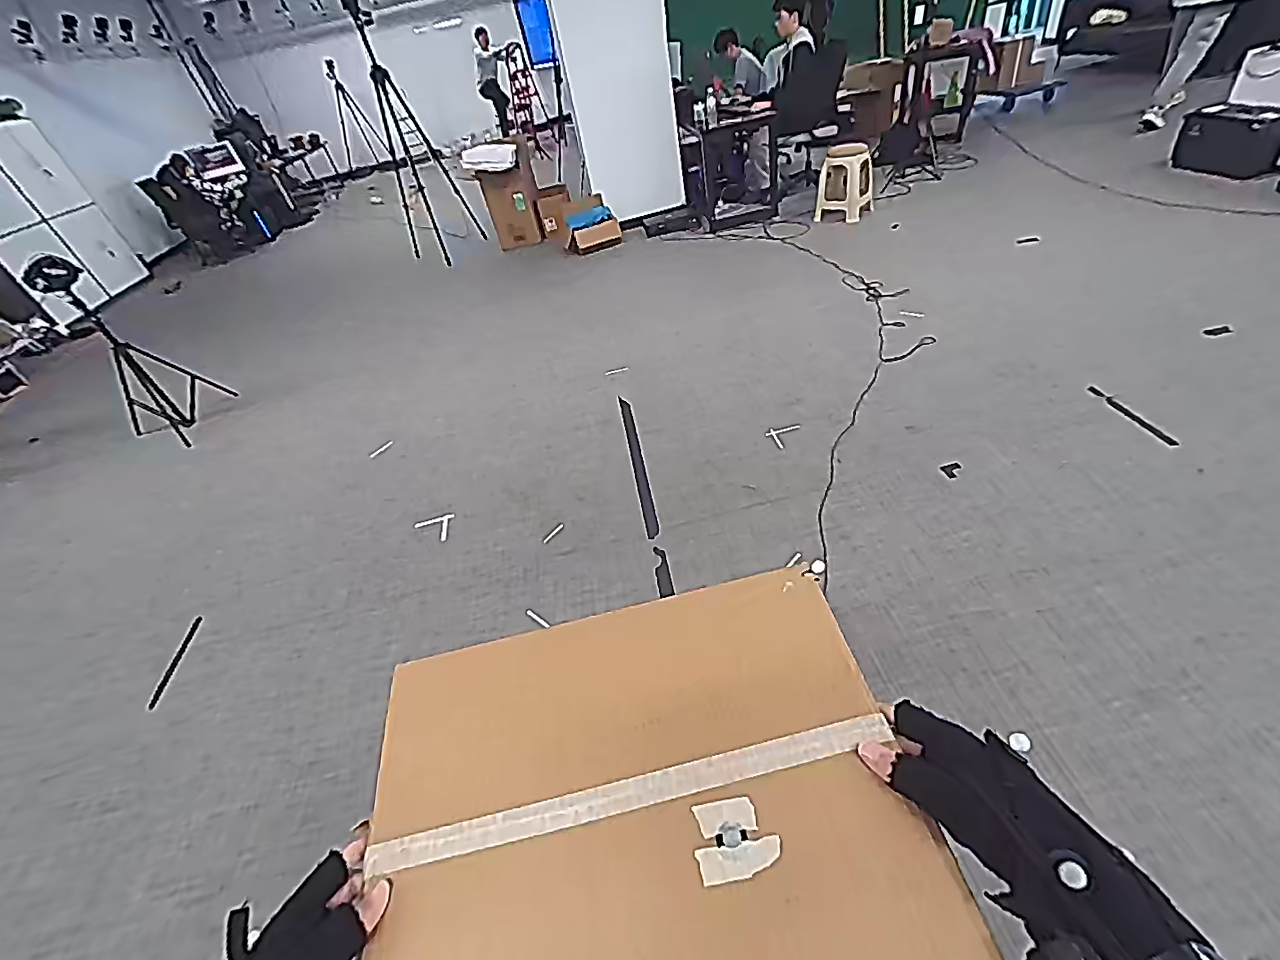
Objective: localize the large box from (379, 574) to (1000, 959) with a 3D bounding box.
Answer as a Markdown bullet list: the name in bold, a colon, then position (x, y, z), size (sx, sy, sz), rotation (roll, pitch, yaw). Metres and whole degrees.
- **large box**: position (0.021, 0.347, 0.526), size (0.408, 0.320, 0.320), rotation (-14, 47, -2)
